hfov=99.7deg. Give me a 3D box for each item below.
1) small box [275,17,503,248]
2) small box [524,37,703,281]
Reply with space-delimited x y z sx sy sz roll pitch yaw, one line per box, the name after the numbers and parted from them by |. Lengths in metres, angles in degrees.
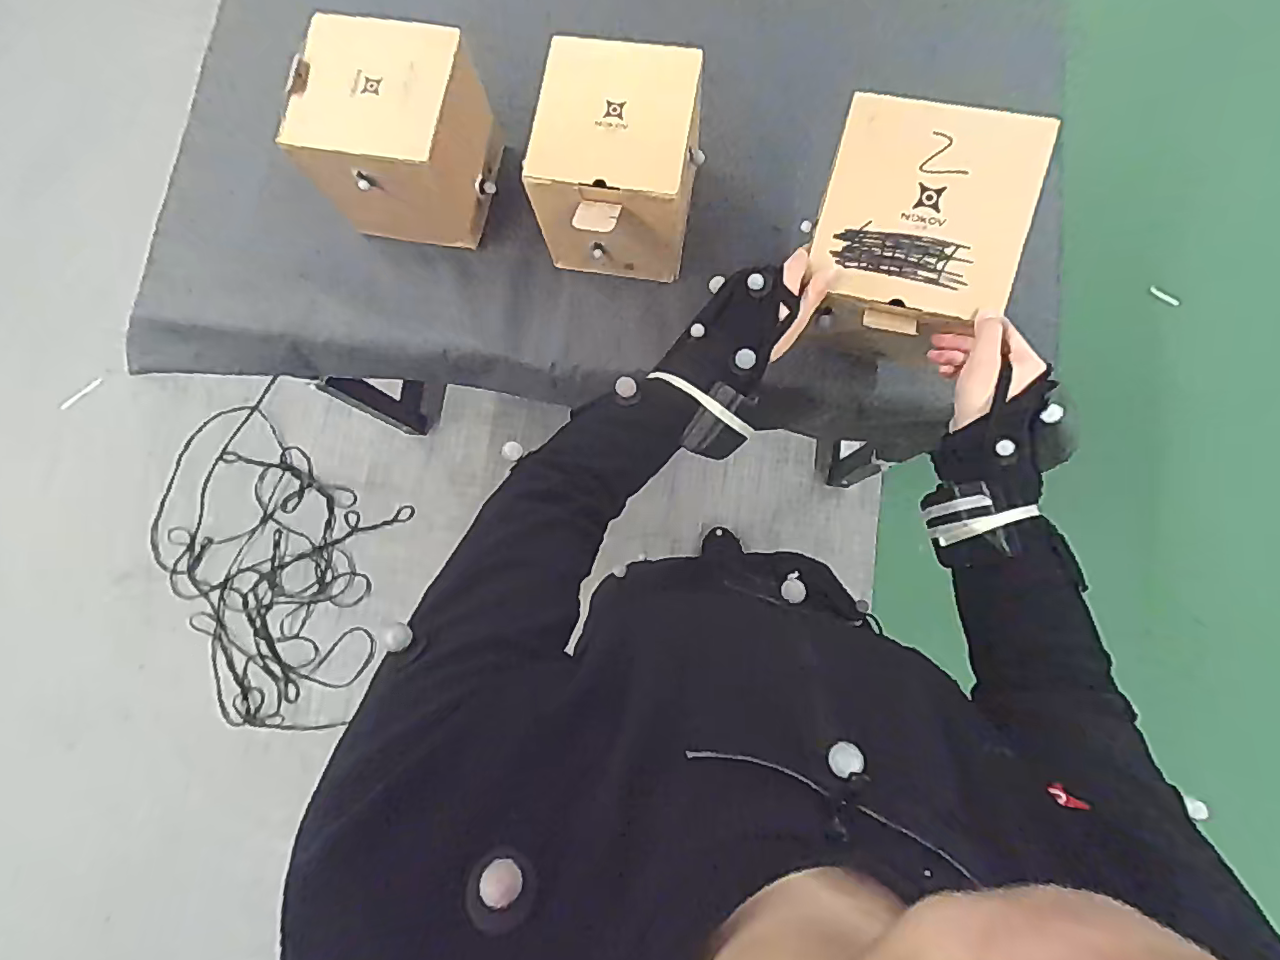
-0.290 -0.411 0.664 0.179 0.176 0.168 10 82 4 | small box
-0.024 -0.368 0.644 0.168 0.176 0.179 9 82 4 | small box
